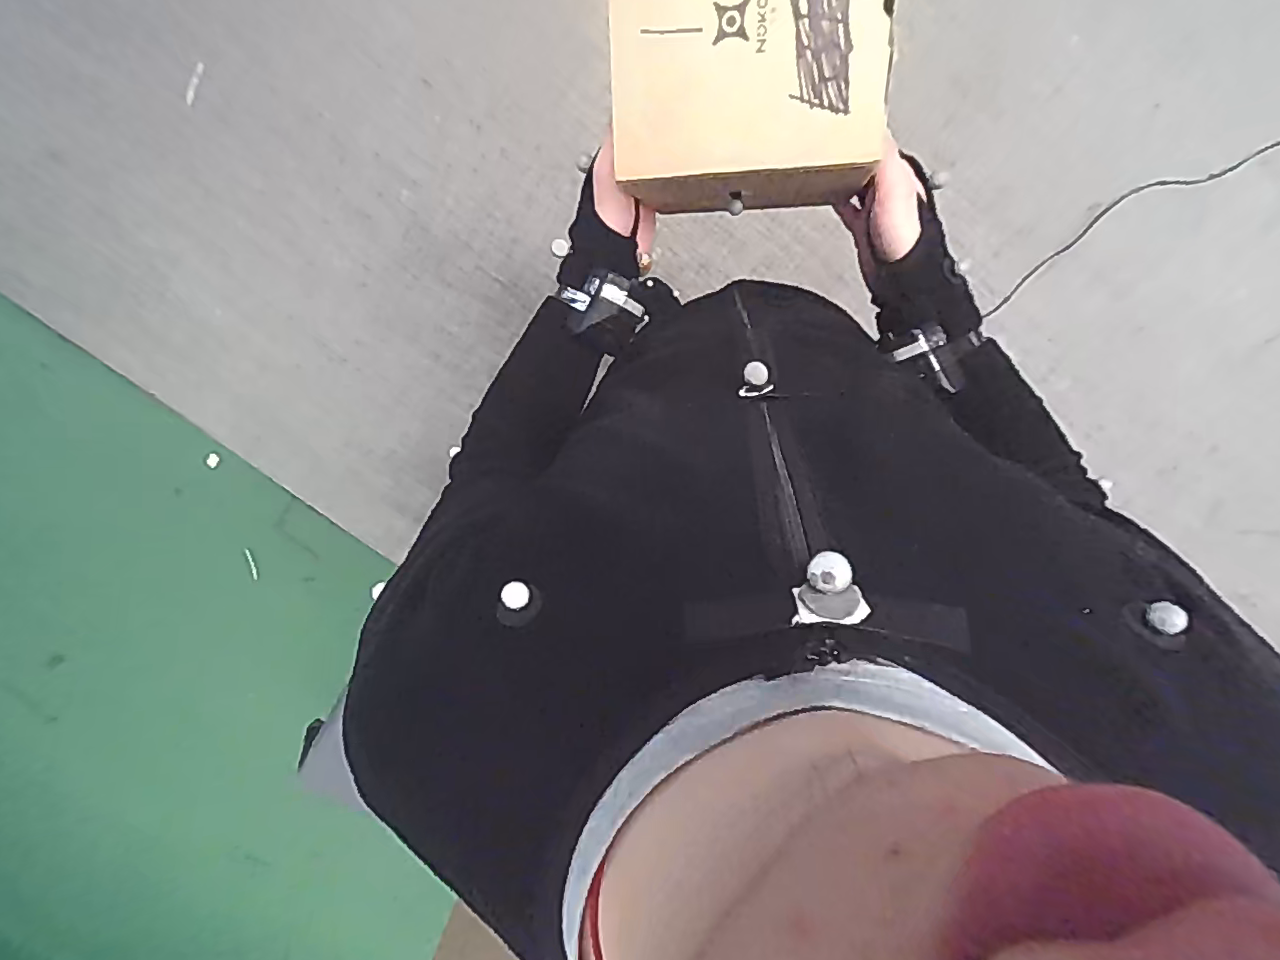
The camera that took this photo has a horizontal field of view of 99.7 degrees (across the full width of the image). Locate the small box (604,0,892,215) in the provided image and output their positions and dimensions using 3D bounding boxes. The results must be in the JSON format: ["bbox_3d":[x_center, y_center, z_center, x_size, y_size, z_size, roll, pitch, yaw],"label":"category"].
[{"bbox_3d":[0.078,-0.303,0.406,0.179,0.176,0.168,3,109,12],"label":"small box"}]
